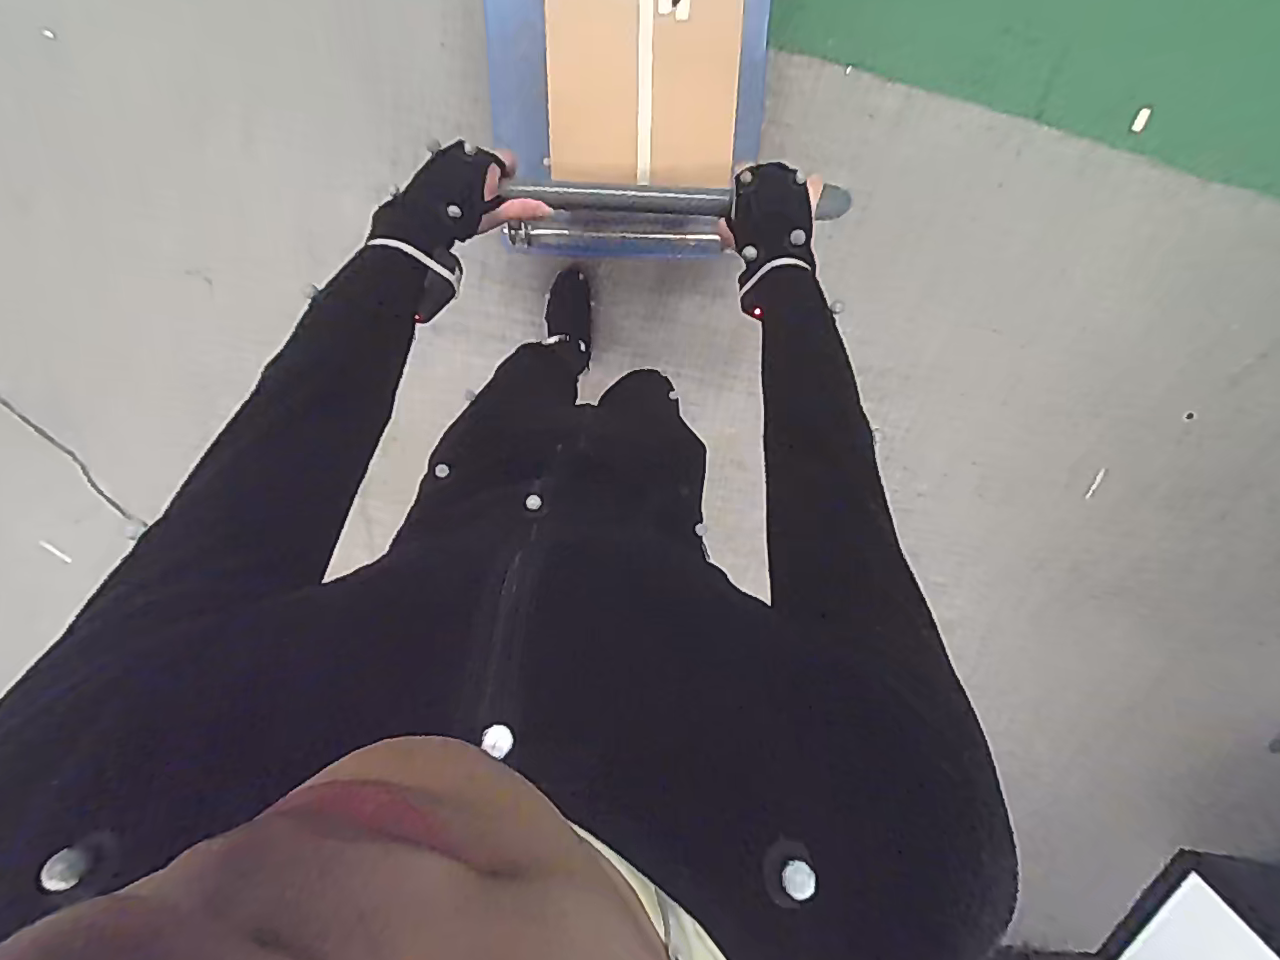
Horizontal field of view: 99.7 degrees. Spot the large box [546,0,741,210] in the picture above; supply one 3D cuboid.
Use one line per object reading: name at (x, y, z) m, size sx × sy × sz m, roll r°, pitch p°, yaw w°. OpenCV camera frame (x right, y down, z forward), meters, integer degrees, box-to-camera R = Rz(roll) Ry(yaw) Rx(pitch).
large box at (0.001, -0.746, 1.018) m, size 0.320 × 0.320 × 0.408 m, roll 0°, pitch 111°, yaw -4°
